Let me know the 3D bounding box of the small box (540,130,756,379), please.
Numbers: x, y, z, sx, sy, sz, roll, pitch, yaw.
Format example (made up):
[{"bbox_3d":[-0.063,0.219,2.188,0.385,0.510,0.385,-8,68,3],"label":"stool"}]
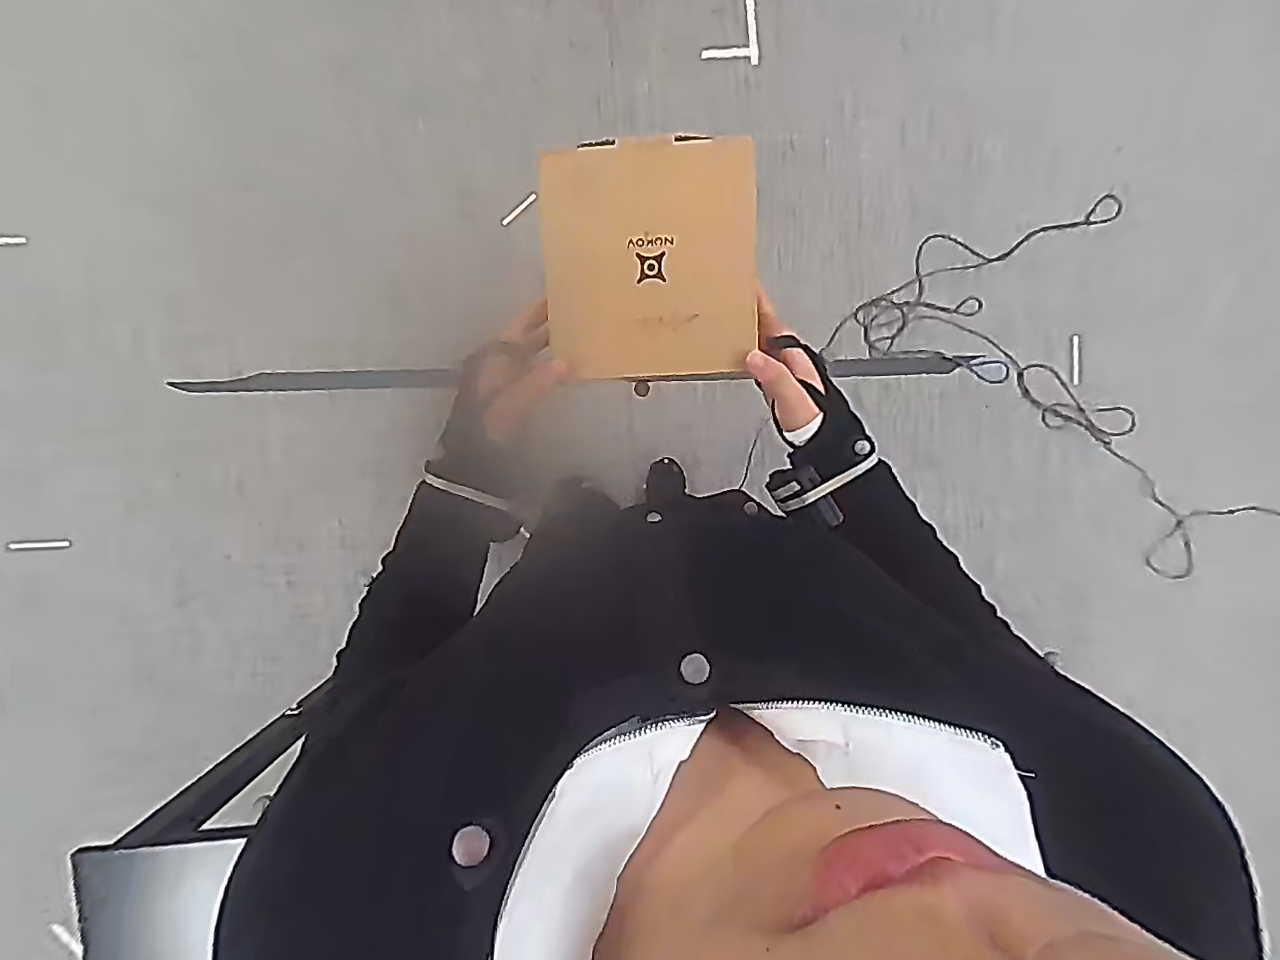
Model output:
[{"bbox_3d":[0.008,-0.186,0.496,0.168,0.176,0.179,-3,100,1],"label":"small box"}]
